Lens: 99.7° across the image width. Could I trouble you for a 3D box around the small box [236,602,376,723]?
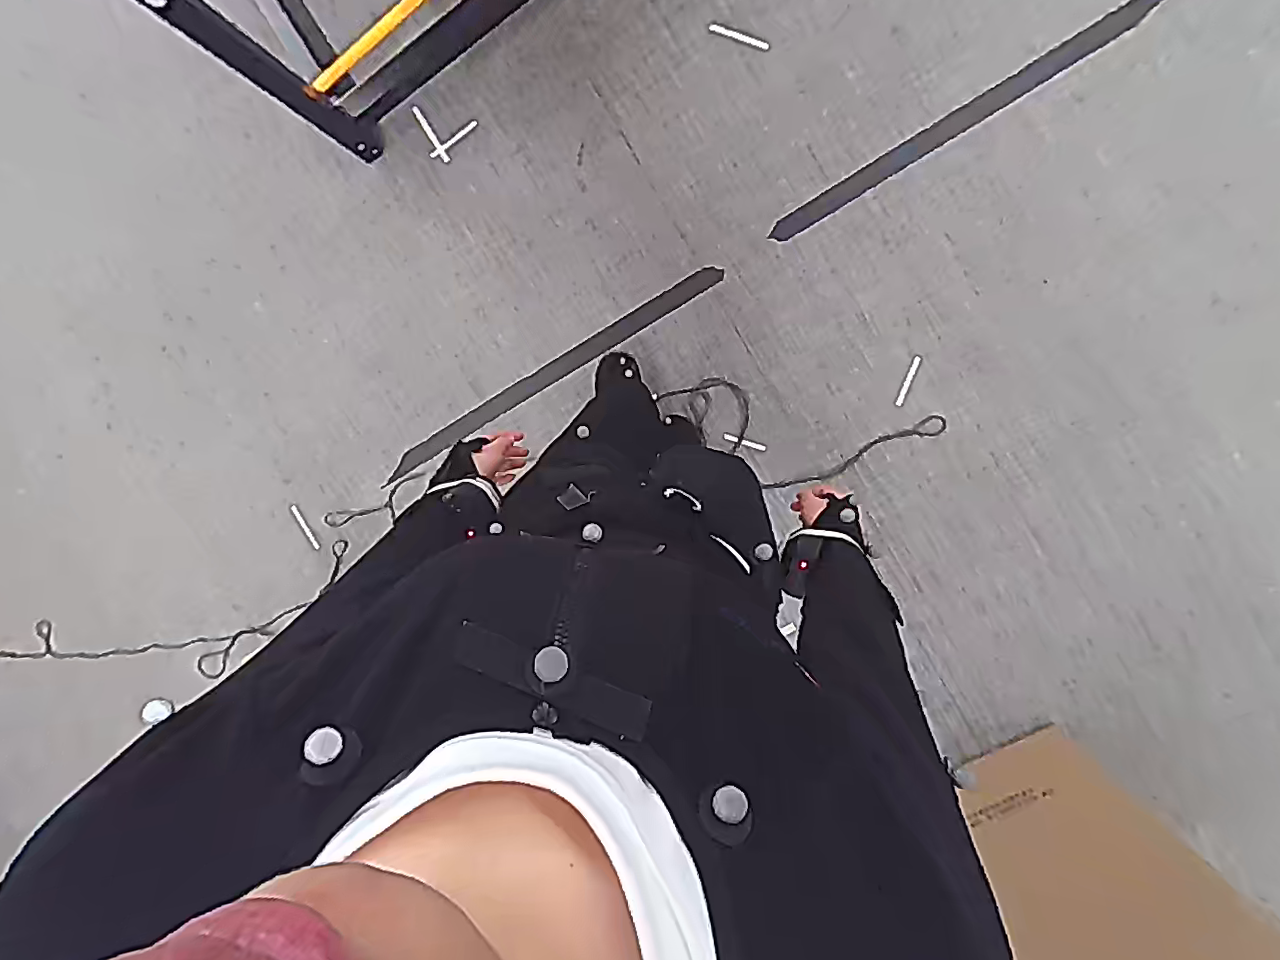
[{"bbox_3d":[-0.756,0.411,1.242,0.179,0.176,0.168,-32,93,9],"label":"small box"}]
